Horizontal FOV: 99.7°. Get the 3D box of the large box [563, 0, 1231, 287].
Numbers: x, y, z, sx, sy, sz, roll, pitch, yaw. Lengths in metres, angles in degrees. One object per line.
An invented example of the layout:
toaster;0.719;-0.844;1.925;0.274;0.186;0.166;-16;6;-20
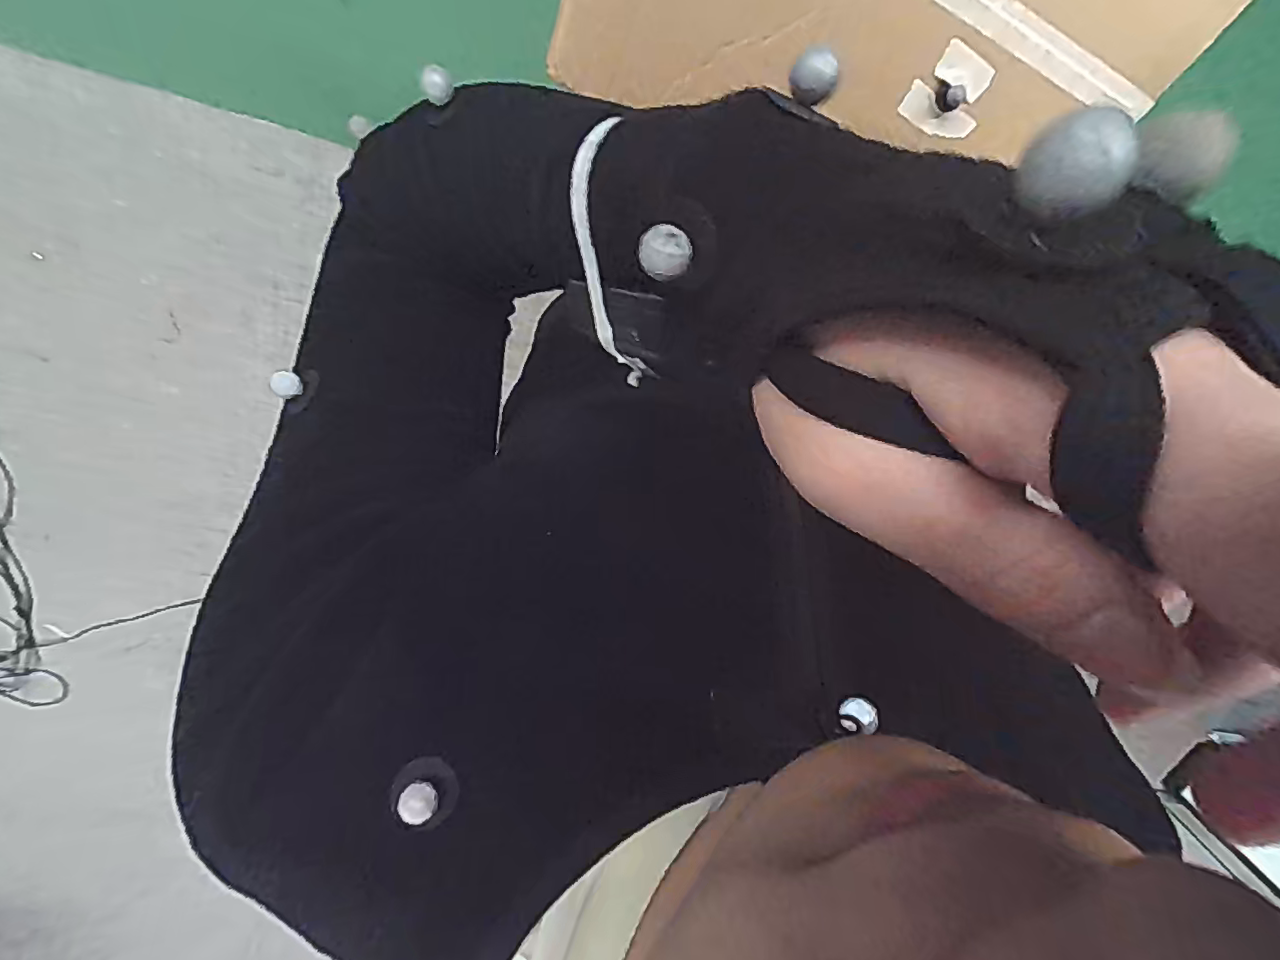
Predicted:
large box;0.183;-0.437;0.458;0.408;0.320;0.320;19;133;-15
